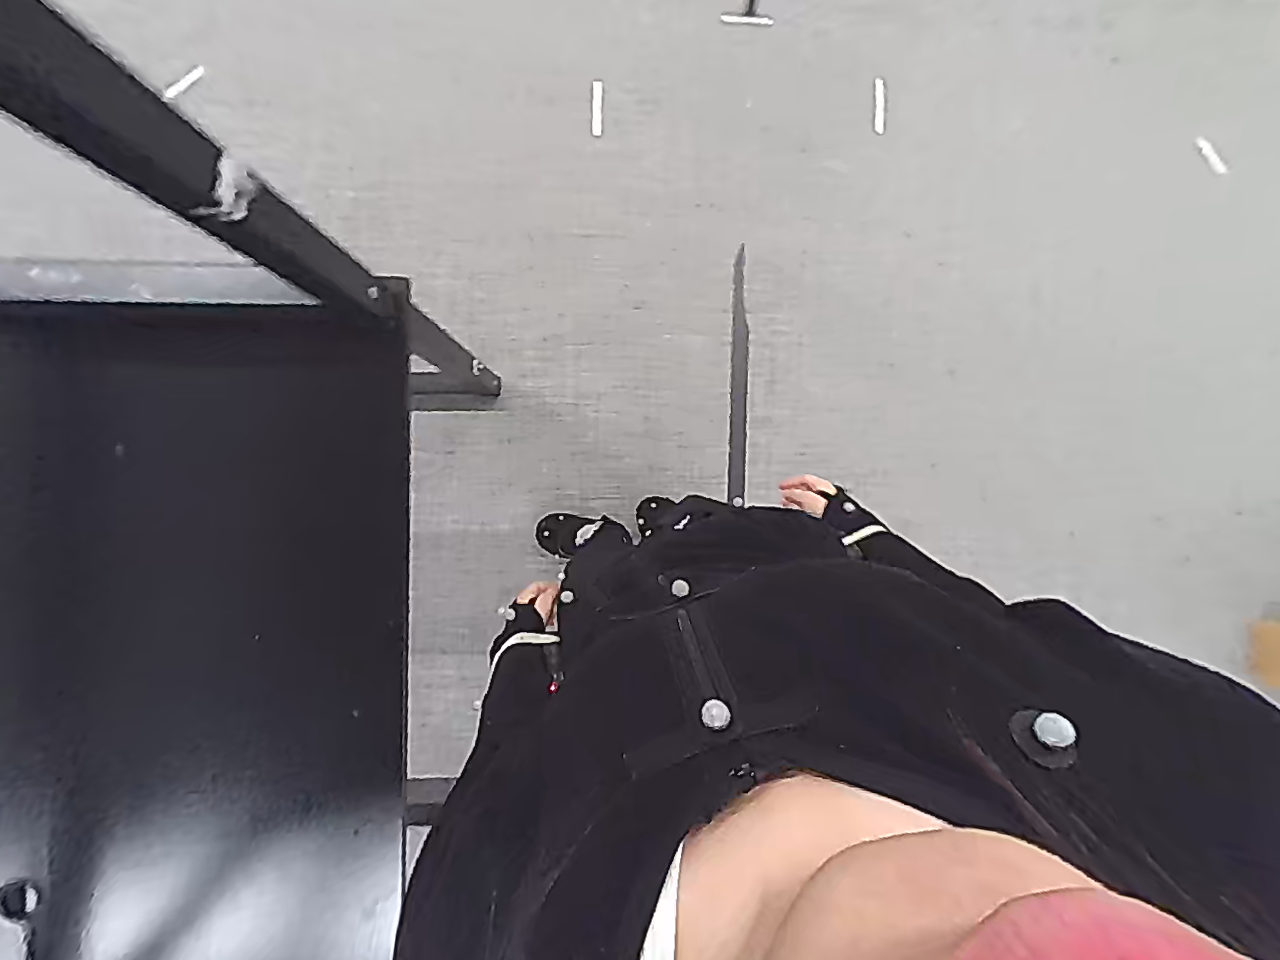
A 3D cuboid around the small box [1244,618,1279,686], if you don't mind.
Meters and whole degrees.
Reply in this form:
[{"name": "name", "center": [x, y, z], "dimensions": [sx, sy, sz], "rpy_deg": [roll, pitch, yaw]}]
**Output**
[{"name": "small box", "center": [1.897, 0.505, 1.547], "dimensions": [0.168, 0.176, 0.179], "rpy_deg": [0, 89, -3]}]
